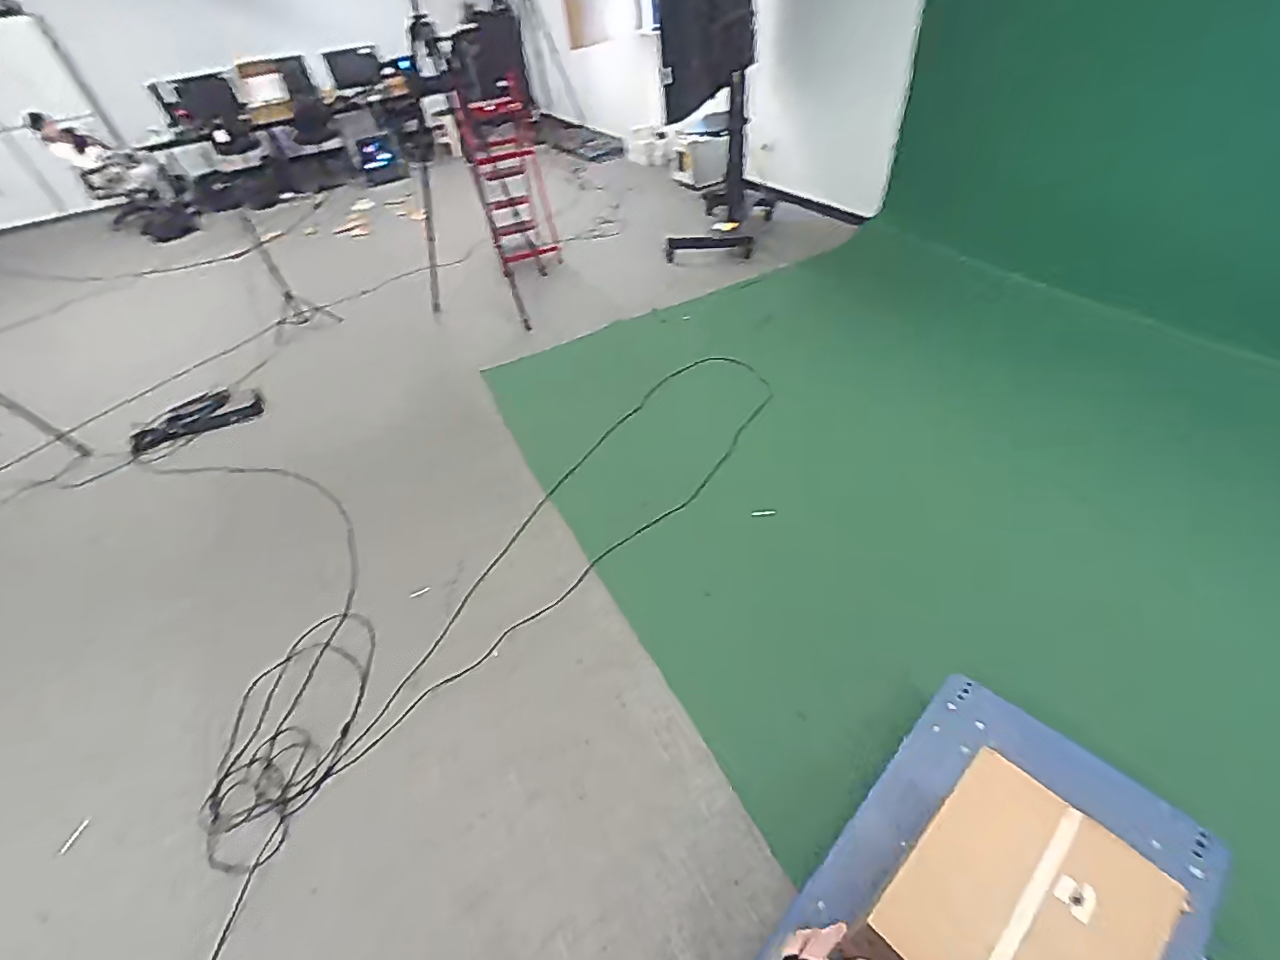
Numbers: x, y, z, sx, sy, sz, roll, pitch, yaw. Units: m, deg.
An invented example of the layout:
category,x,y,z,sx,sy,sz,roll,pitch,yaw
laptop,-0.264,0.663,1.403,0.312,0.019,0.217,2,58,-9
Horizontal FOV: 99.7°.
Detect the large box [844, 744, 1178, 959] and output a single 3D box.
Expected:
category,x,y,z,sx,sy,sz,roll,pitch,yaw
large box,0.625,0.784,0.961,0.408,0.320,0.320,-33,49,-25
